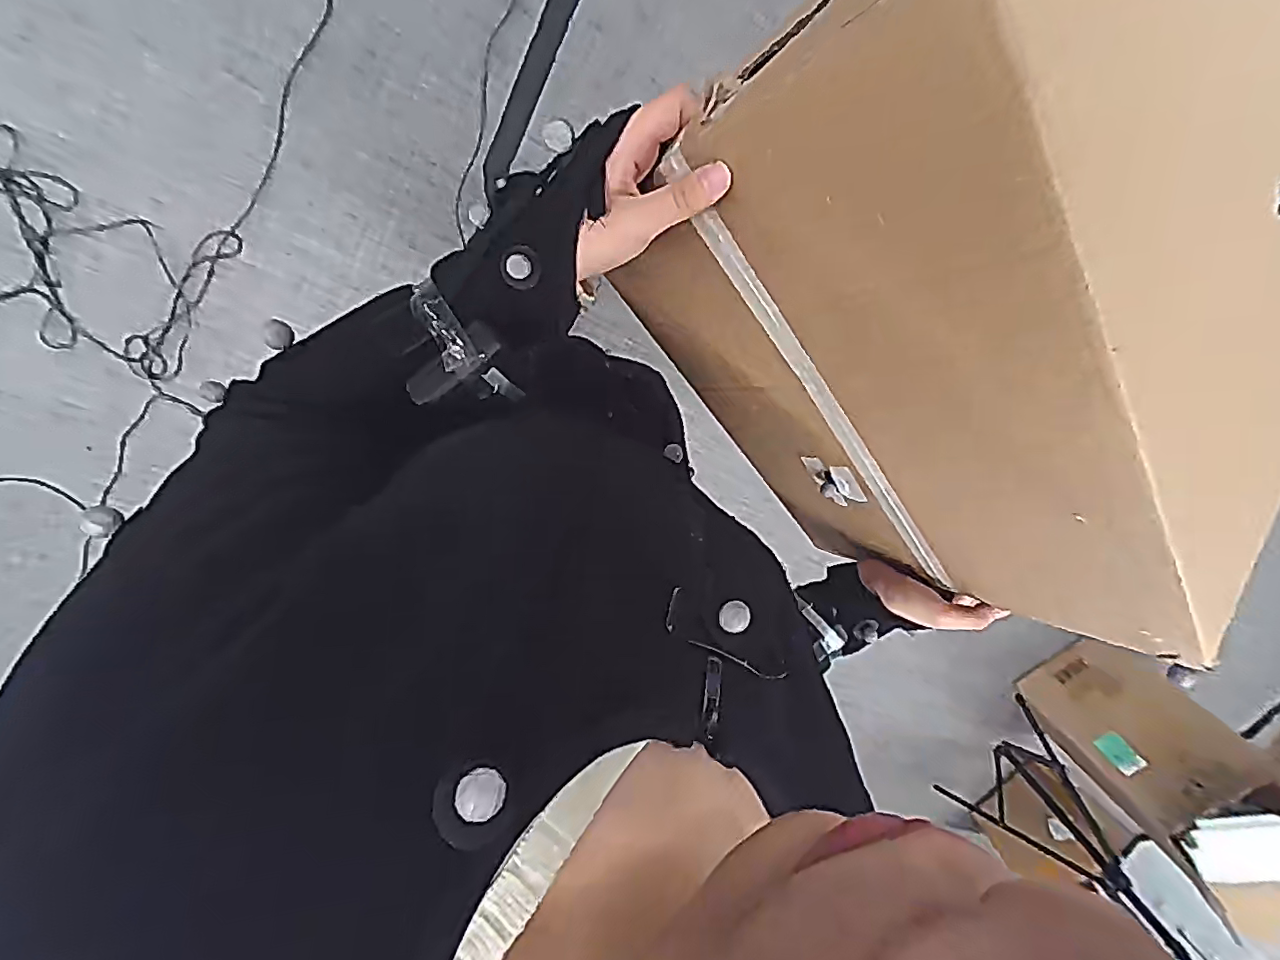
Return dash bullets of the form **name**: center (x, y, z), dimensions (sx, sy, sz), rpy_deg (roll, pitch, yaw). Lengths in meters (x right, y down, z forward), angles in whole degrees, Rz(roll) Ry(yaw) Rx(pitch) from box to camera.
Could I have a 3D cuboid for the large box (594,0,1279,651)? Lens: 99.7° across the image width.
- **large box**: center (0.251, -0.164, 0.377), dimensions (0.408, 0.320, 0.320), rpy_deg (46, 77, -26)
